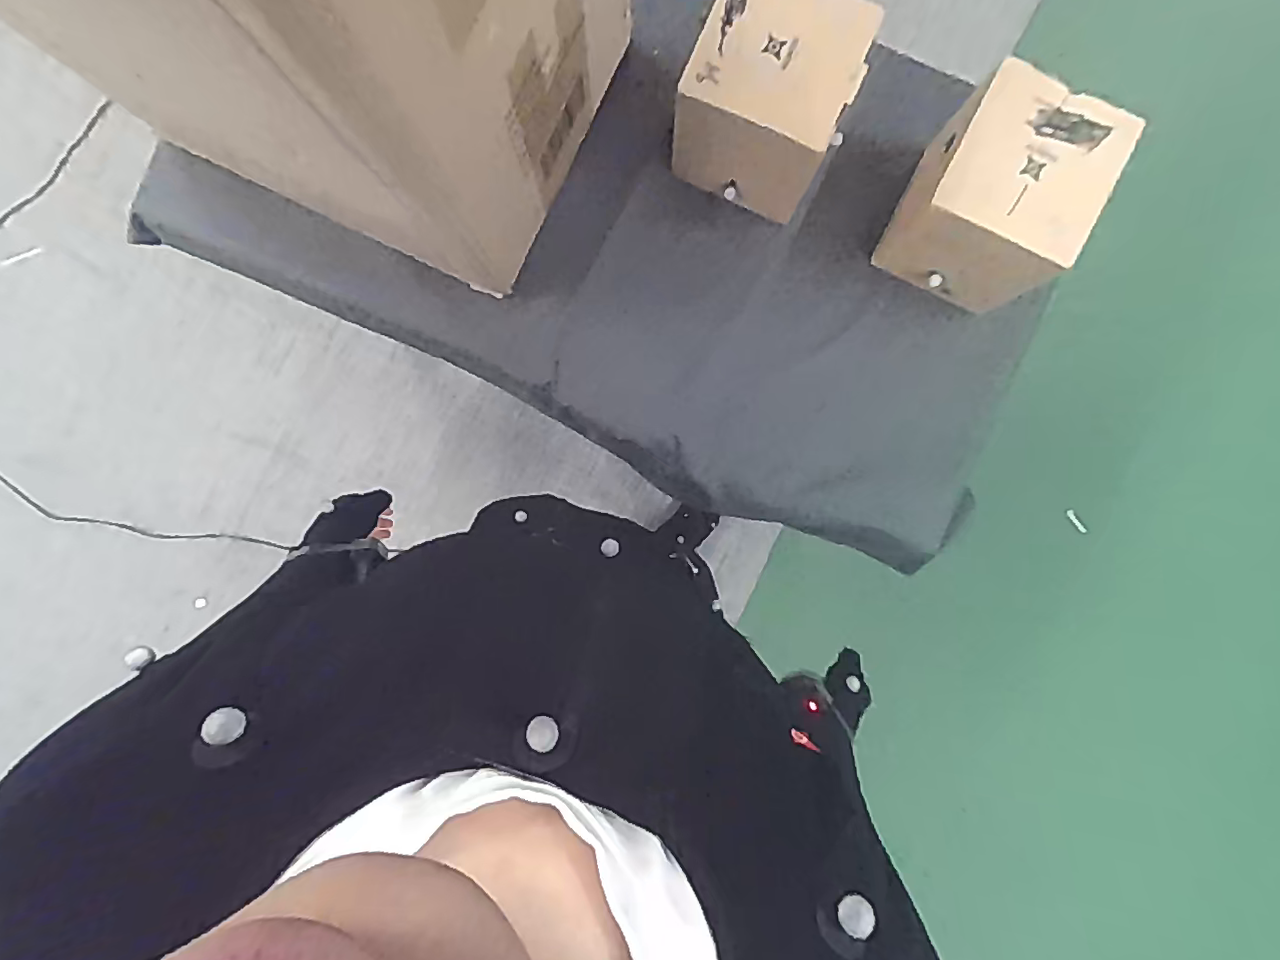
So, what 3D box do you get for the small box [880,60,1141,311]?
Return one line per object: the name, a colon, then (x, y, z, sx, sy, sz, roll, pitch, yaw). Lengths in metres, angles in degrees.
small box: (0.426, -0.337, 0.657, 0.168, 0.176, 0.179, 27, 91, 2)
